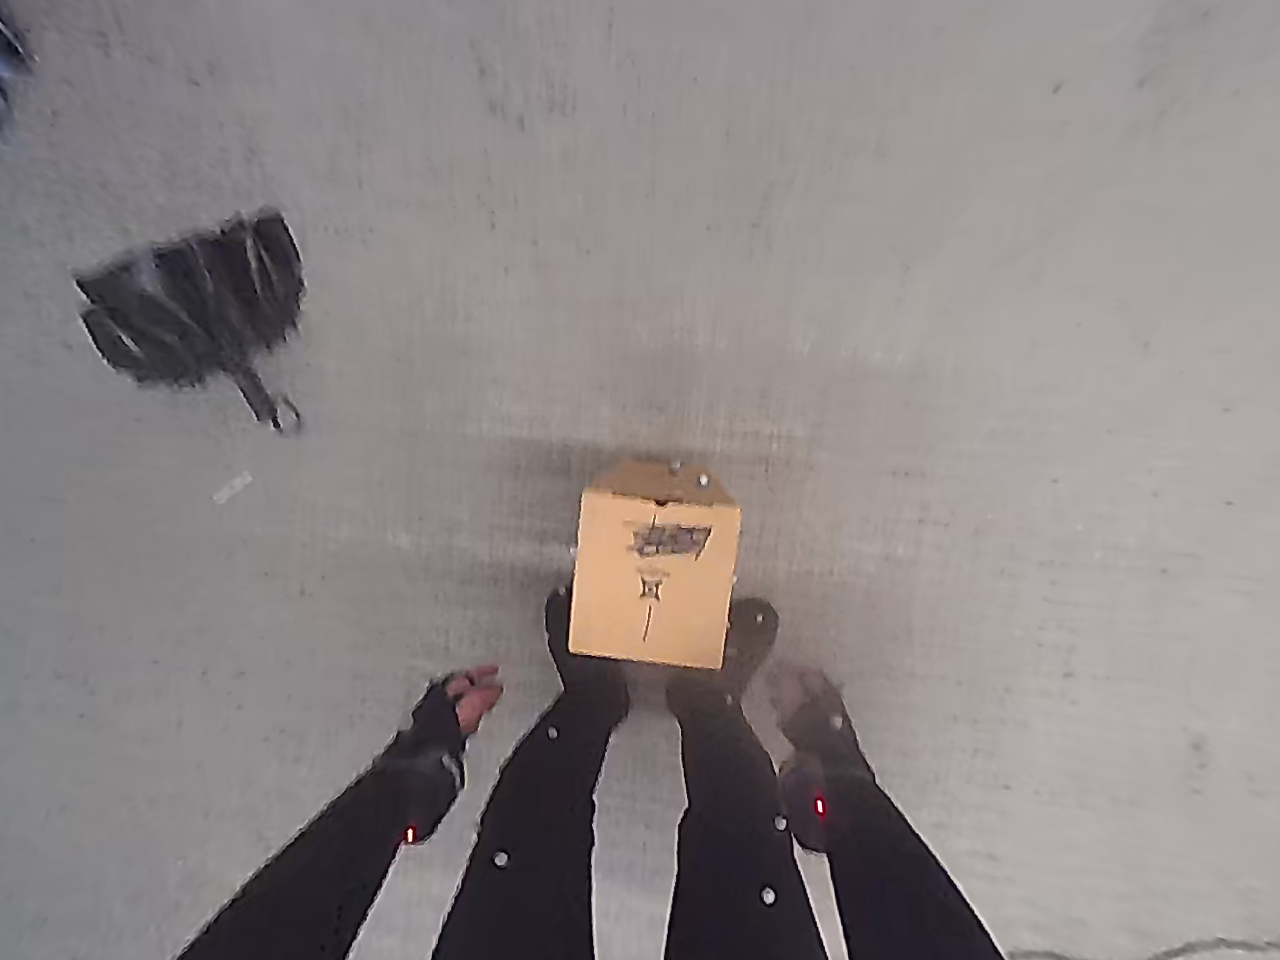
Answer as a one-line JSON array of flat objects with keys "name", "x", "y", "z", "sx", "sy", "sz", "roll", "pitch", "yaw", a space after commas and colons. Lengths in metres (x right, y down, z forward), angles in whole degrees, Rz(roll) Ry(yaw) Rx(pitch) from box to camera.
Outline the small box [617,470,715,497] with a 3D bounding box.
[{"name": "small box", "x": 0.041, "y": 0.083, "z": 0.976, "sx": 0.168, "sy": 0.176, "sz": 0.179, "roll": 5, "pitch": 96, "yaw": 3}]

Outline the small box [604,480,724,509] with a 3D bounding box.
[{"name": "small box", "x": 0.030, "y": 0.100, "z": 0.814, "sx": 0.168, "sy": 0.176, "sz": 0.179, "roll": 5, "pitch": 95, "yaw": 2}]

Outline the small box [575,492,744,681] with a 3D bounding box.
[{"name": "small box", "x": 0.022, "y": 0.114, "z": 0.650, "sx": 0.168, "sy": 0.176, "sz": 0.179, "roll": 6, "pitch": 97, "yaw": 2}]
